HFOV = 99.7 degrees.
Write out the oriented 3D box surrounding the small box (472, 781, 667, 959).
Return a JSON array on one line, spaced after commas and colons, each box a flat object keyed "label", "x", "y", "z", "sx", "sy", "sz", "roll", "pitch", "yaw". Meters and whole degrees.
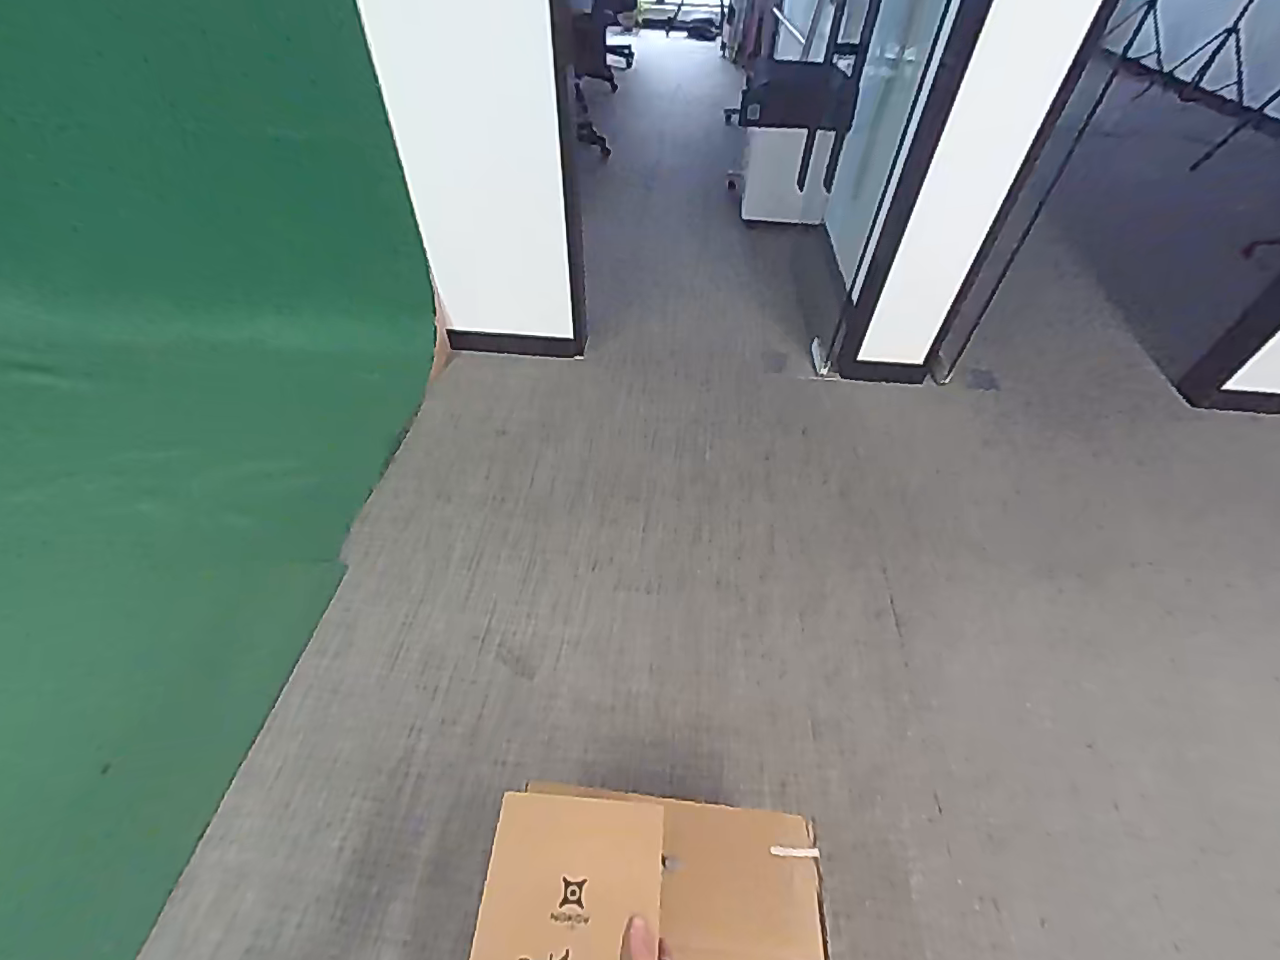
[{"label": "small box", "x": -0.060, "y": 0.435, "z": 0.559, "sx": 0.168, "sy": 0.176, "sz": 0.179, "roll": 2, "pitch": 49, "yaw": 4}]
